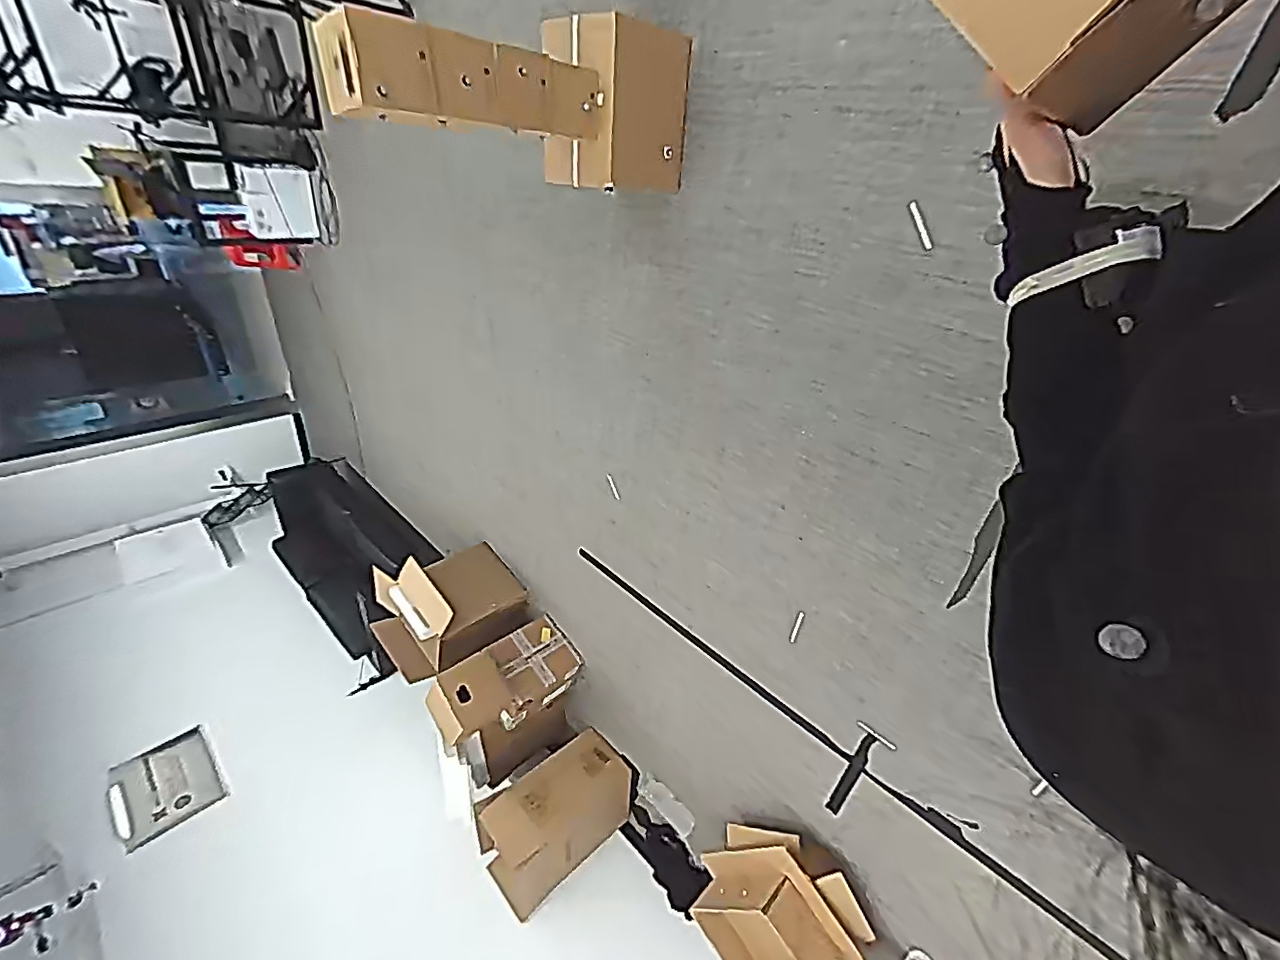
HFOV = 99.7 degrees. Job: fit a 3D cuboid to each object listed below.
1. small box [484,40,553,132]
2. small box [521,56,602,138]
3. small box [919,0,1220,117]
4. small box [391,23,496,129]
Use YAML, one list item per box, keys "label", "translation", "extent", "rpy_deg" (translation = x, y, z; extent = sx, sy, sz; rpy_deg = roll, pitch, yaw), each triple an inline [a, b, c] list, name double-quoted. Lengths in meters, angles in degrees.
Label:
- label: "small box"
  translation: [-0.335, -0.995, 1.376]
  extent: [0.179, 0.176, 0.168]
  rpy_deg: [27, 126, 37]
- label: "small box"
  translation: [-0.226, -1.045, 1.485]
  extent: [0.179, 0.176, 0.168]
  rpy_deg: [28, 128, 35]
- label: "small box"
  translation: [0.288, -0.366, 0.341]
  extent: [0.168, 0.176, 0.179]
  rpy_deg: [-44, 71, 49]
- label: "small box"
  translation: [-0.453, -0.940, 1.274]
  extent: [0.179, 0.176, 0.168]
  rpy_deg: [22, 123, 39]
